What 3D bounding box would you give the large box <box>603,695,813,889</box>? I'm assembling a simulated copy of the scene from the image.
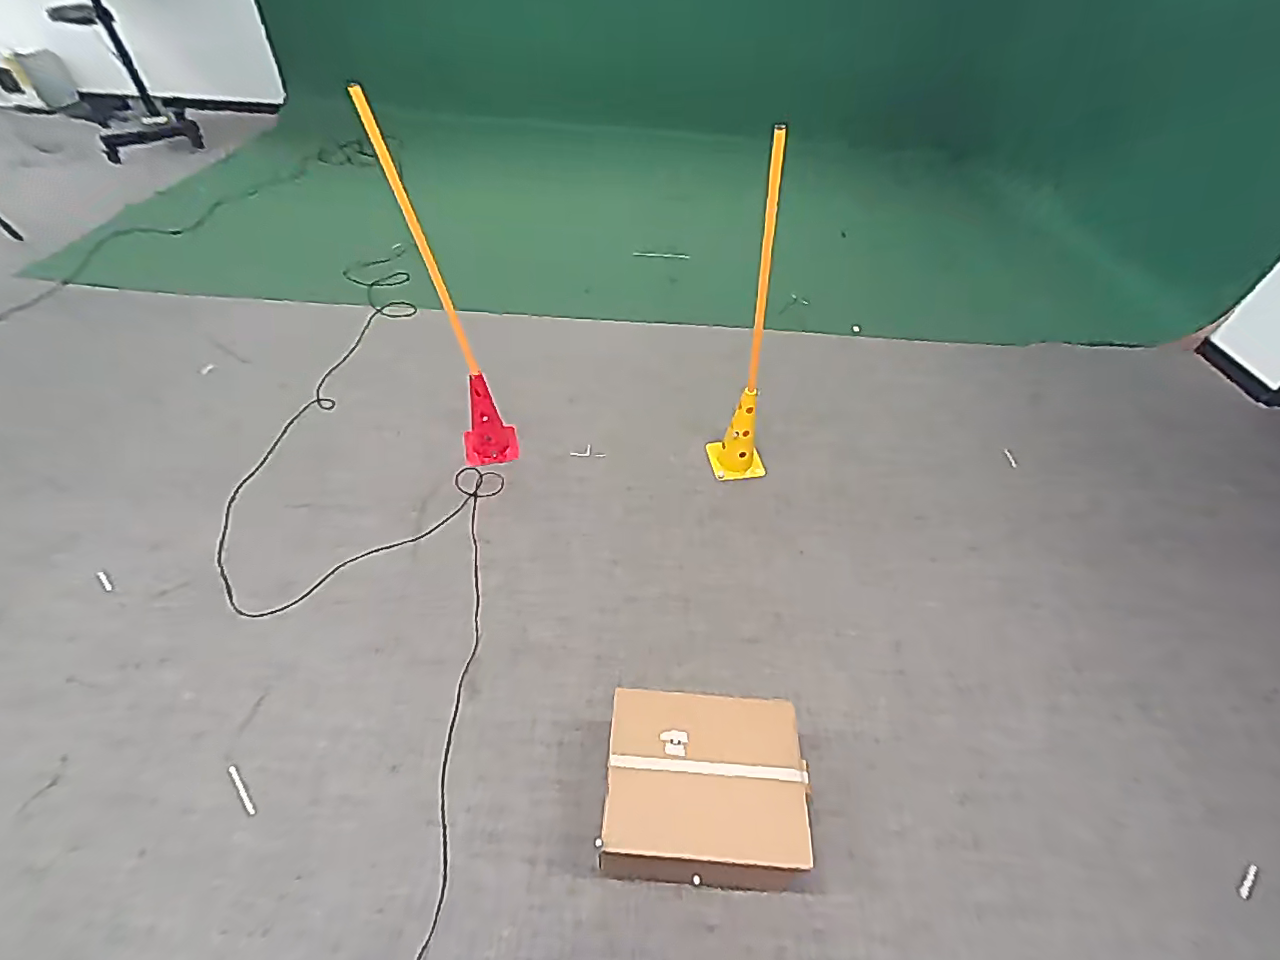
[{"bbox_3d":[0.134,0.709,1.224,0.408,0.320,0.320,4,46,2],"label":"large box"}]
